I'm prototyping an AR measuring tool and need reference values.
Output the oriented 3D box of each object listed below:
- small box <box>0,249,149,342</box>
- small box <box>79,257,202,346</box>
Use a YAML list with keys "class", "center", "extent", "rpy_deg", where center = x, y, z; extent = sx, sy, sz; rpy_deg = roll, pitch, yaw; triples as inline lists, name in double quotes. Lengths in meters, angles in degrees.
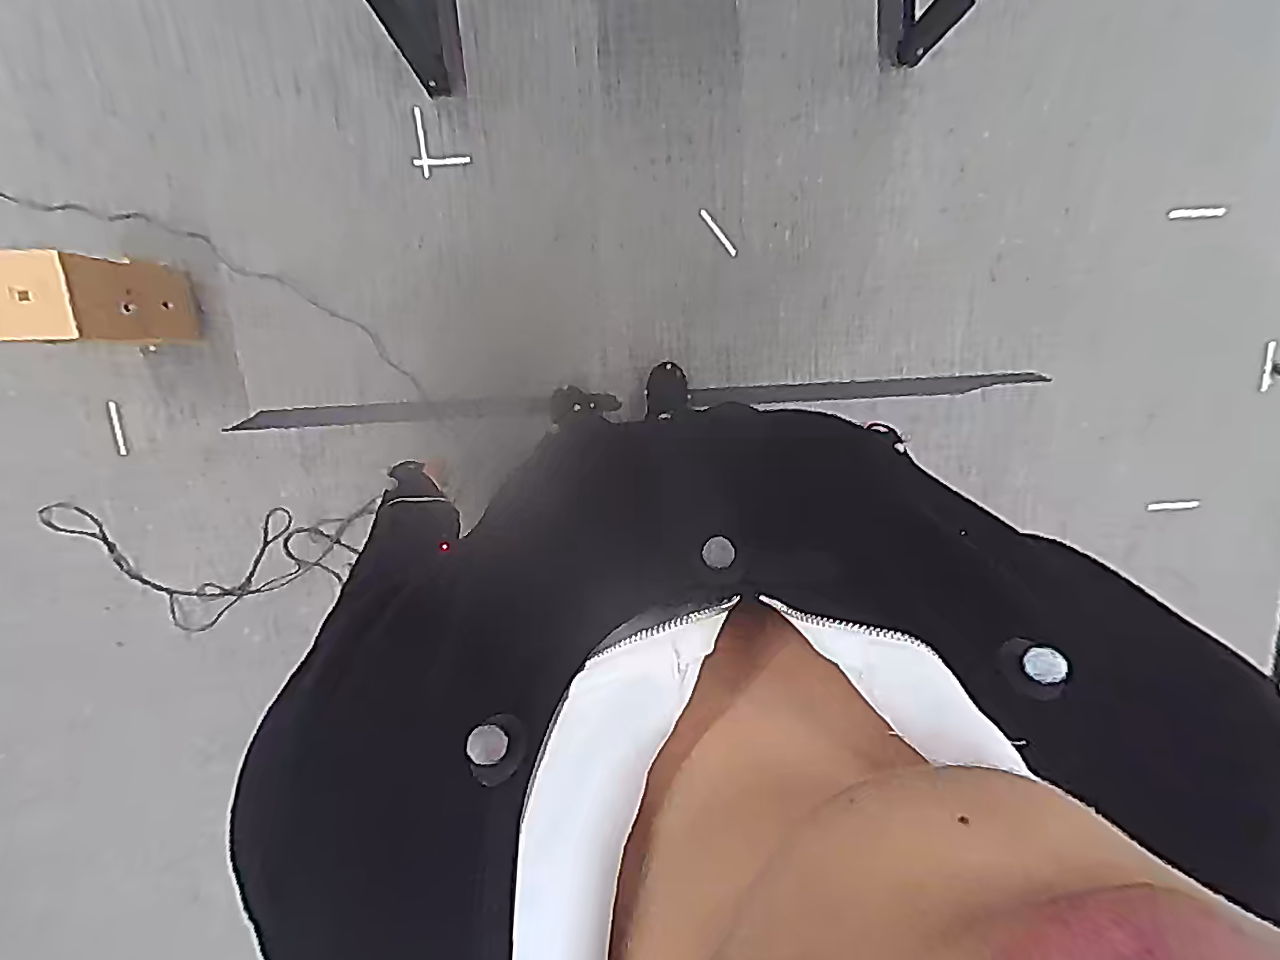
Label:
- class: "small box"
  center: [-1.182, -0.372, 1.113]
  extent: [0.179, 0.176, 0.168]
  rpy_deg: [-3, 104, -4]
- class: "small box"
  center: [-1.187, -0.412, 1.271]
  extent: [0.168, 0.176, 0.179]
  rpy_deg: [-5, 103, -2]
